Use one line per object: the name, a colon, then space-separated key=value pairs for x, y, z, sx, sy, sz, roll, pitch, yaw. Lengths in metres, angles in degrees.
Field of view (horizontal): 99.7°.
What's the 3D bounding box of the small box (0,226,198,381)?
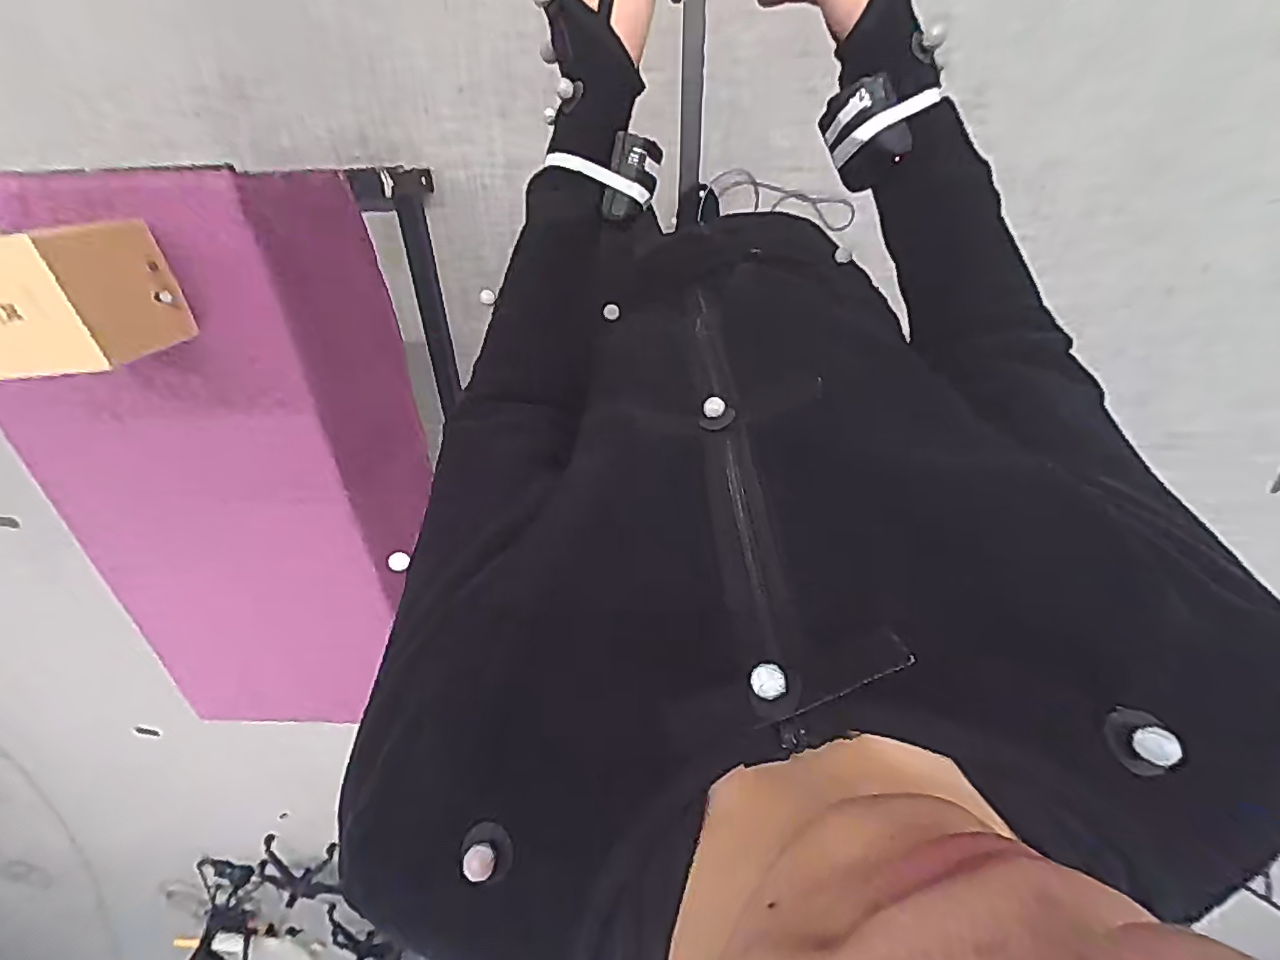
small box: x=-0.783 y=-0.247 z=0.747 sx=0.179 sy=0.176 sz=0.168 roll=-3 pitch=122 yaw=6
